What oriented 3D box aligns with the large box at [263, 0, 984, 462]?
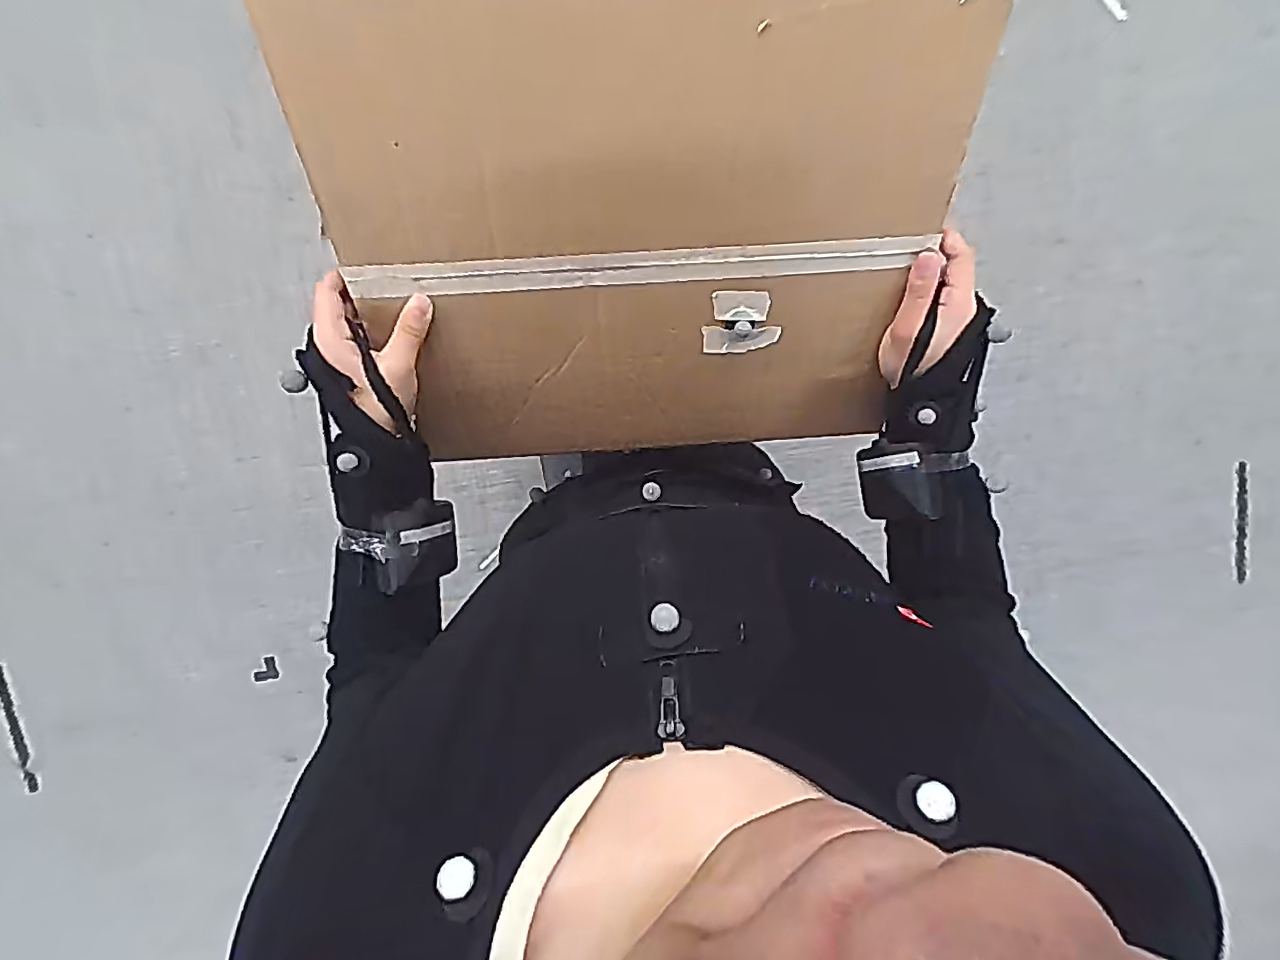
[{"bbox_3d":[-0.012,-0.245,0.496,0.408,0.320,0.320,-5,131,-4],"label":"large box"}]
